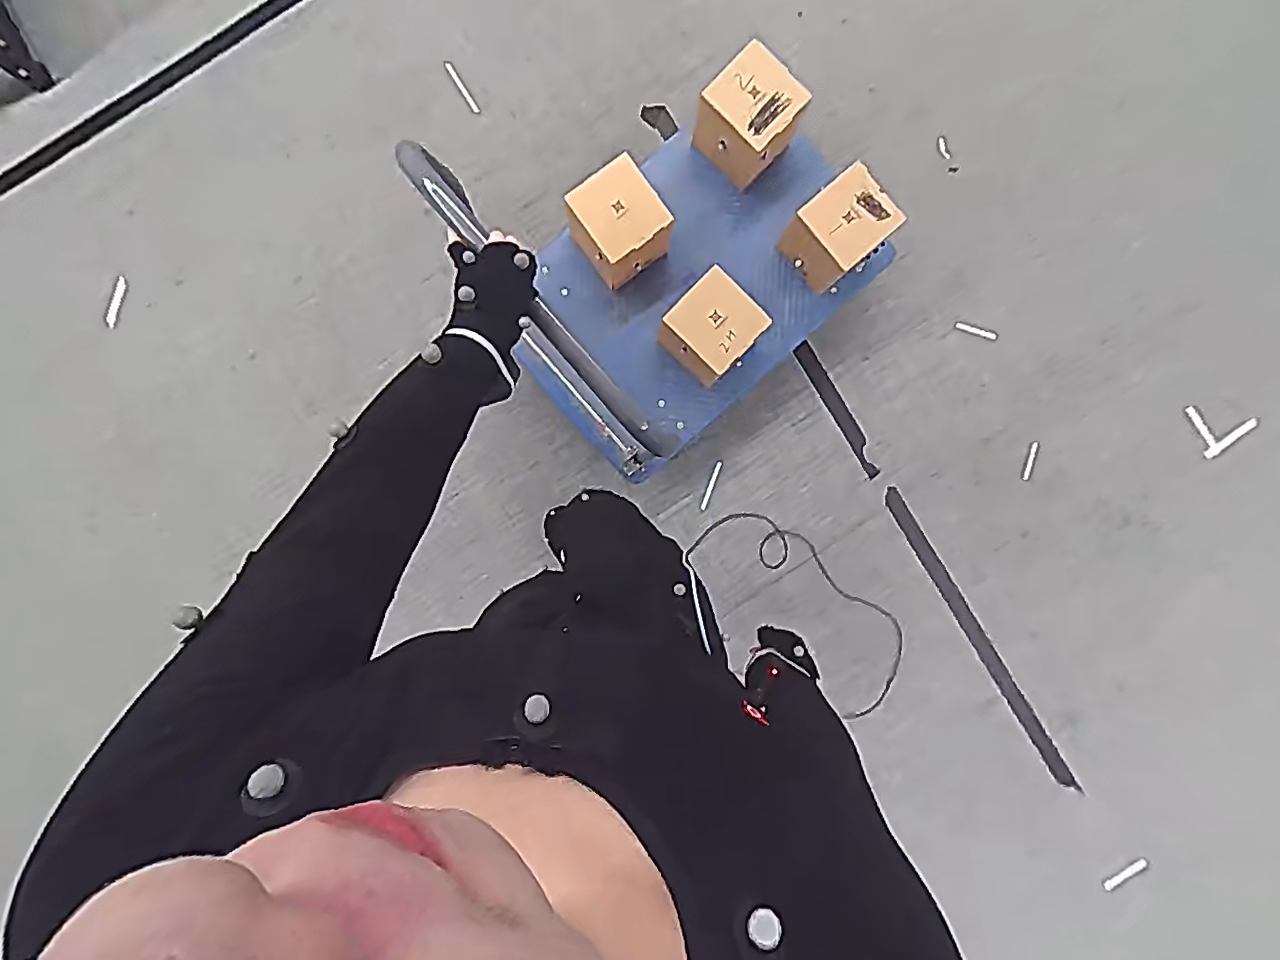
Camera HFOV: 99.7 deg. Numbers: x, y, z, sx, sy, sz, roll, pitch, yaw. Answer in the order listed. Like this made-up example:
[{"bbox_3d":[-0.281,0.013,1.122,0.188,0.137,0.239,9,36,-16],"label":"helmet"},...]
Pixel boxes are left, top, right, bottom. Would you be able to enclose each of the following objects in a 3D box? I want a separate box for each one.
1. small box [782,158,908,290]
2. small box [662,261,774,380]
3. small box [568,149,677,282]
[{"bbox_3d":[0.451,-0.566,1.220,0.179,0.176,0.168,-40,92,1],"label":"small box"},{"bbox_3d":[0.164,-0.346,1.217,0.168,0.176,0.179,-45,92,0],"label":"small box"},{"bbox_3d":[-0.042,-0.576,1.205,0.168,0.176,0.179,-37,94,-1],"label":"small box"}]
